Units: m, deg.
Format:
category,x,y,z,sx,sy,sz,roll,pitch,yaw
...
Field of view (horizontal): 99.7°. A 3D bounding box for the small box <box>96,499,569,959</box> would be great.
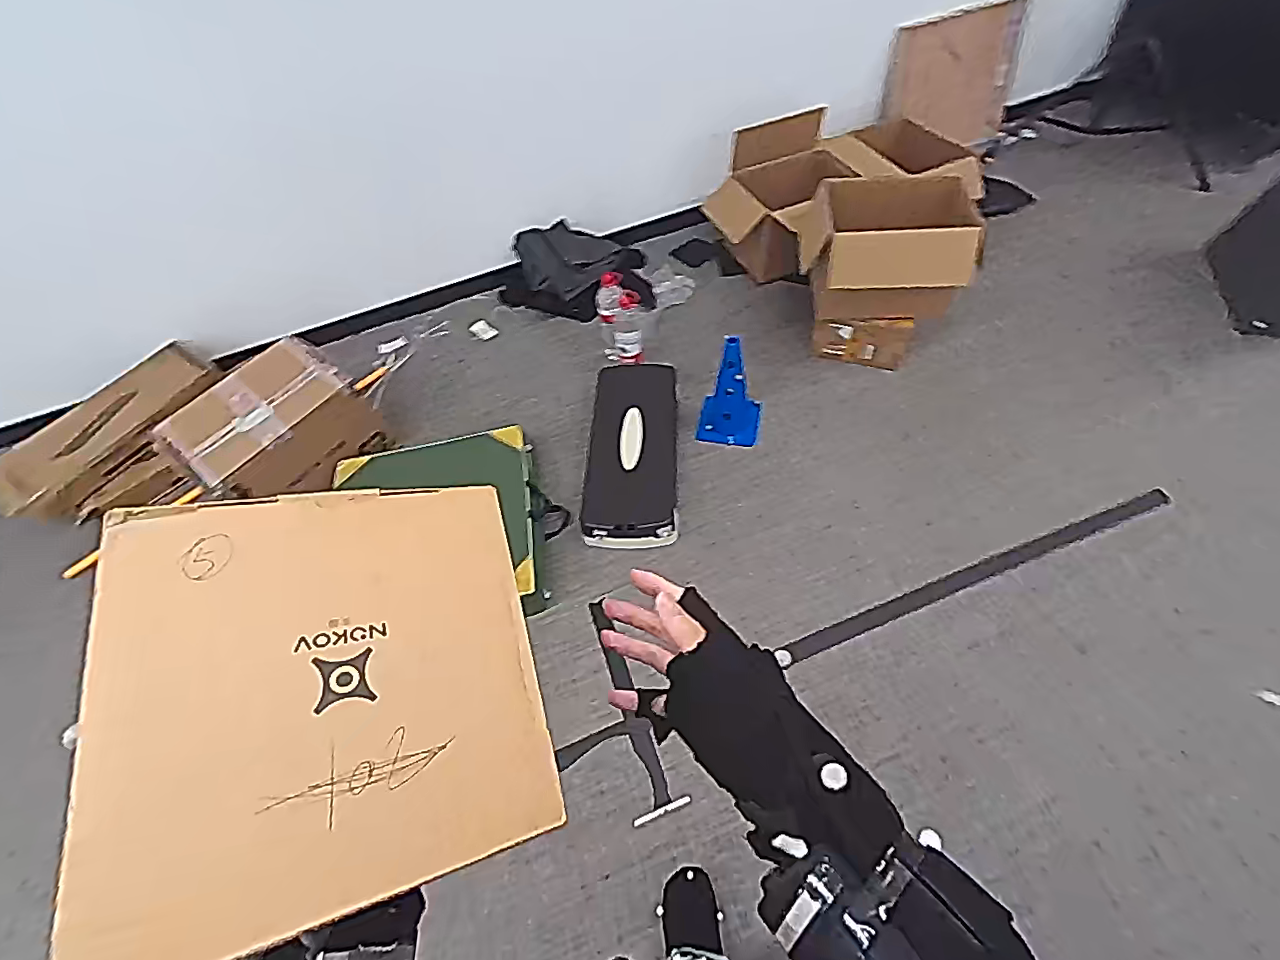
category,x,y,z,sx,sy,sz,roll,pitch,yaw
small box,-0.160,0.128,0.308,0.168,0.176,0.179,-3,62,-30
